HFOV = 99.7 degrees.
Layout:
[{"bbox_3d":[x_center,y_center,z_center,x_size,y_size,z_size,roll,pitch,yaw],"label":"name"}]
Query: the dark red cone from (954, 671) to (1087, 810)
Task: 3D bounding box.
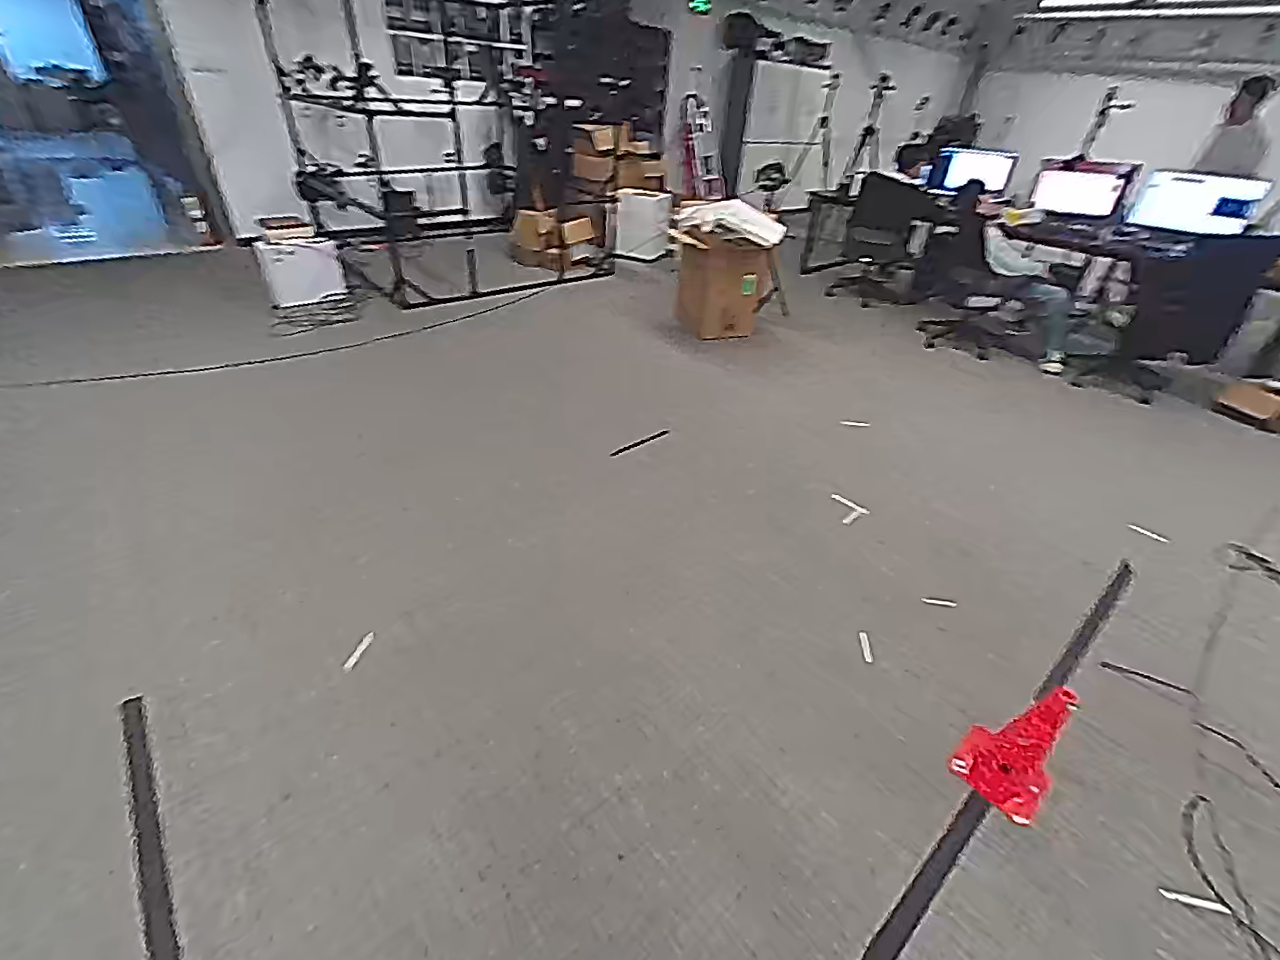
[{"bbox_3d":[0.973,0.606,1.335,0.202,0.394,0.201,-25,45,-35],"label":"dark red cone"}]
